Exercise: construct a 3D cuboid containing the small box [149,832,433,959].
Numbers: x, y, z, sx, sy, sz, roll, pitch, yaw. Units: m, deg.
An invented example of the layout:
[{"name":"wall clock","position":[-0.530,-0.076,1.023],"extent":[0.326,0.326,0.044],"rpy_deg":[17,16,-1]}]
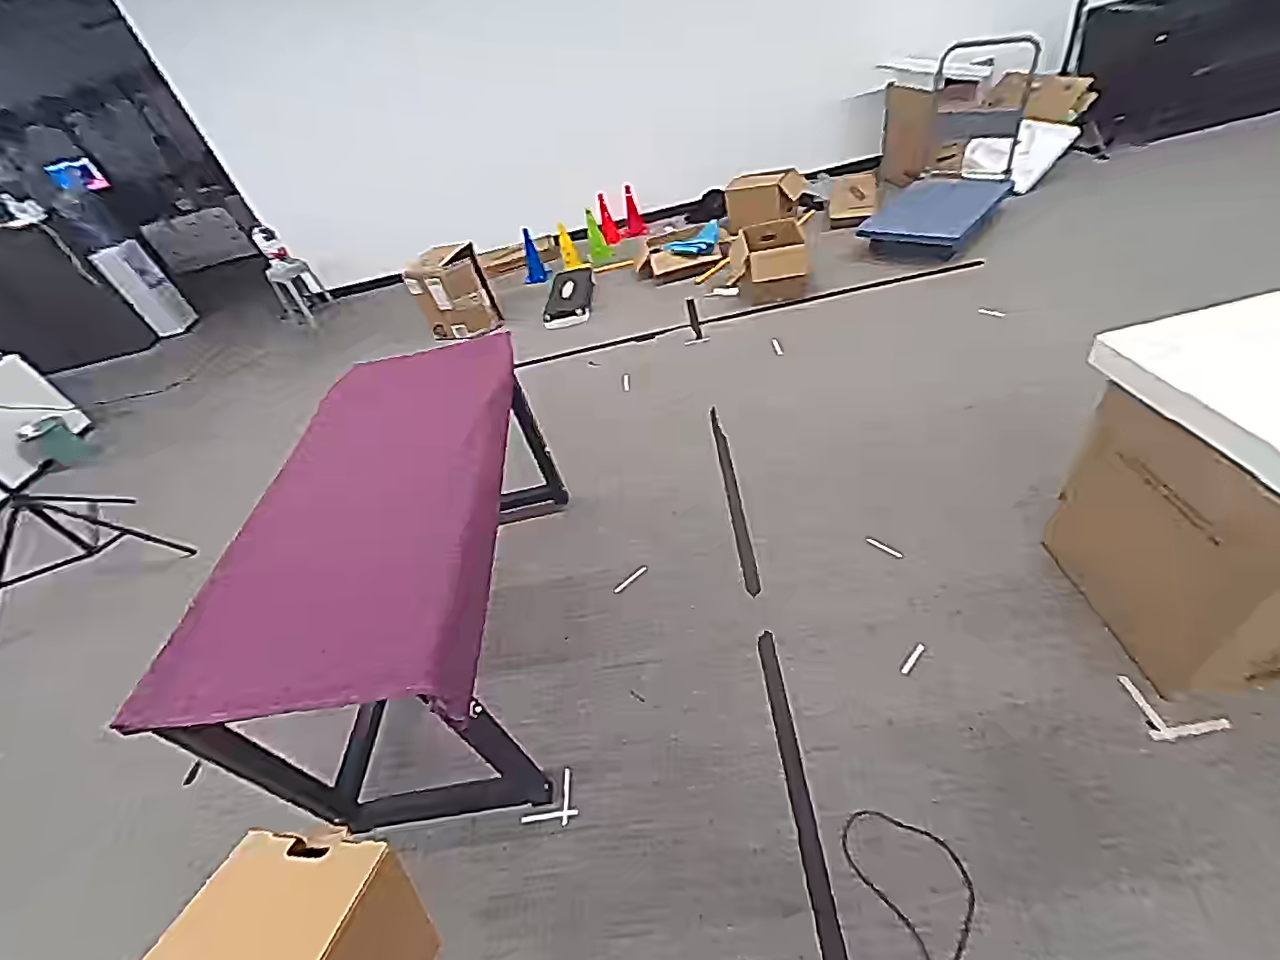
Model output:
[{"name":"small box","position":[-0.315,0.461,0.485],"extent":[0.168,0.176,0.179],"rpy_deg":[-4,22,13]}]
